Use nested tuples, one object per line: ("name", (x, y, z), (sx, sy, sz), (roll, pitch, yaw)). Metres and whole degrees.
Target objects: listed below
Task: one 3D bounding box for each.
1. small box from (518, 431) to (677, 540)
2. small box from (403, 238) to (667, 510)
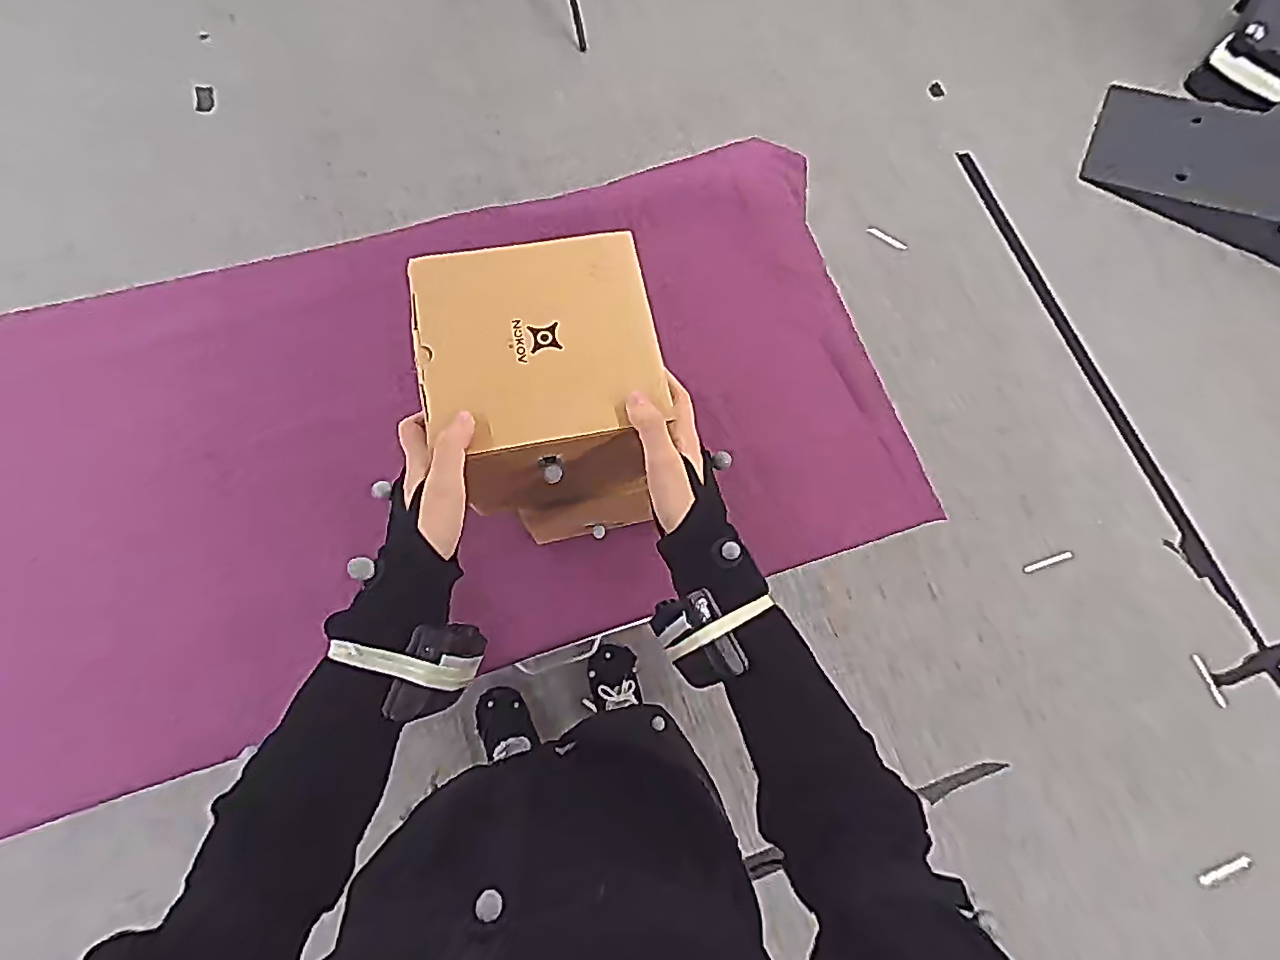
("small box", (-0.064, -0.040, 0.637), (0.168, 0.176, 0.179), (-12, 76, -7))
("small box", (-0.085, -0.080, 0.477), (0.179, 0.176, 0.168), (-11, 76, -6))
